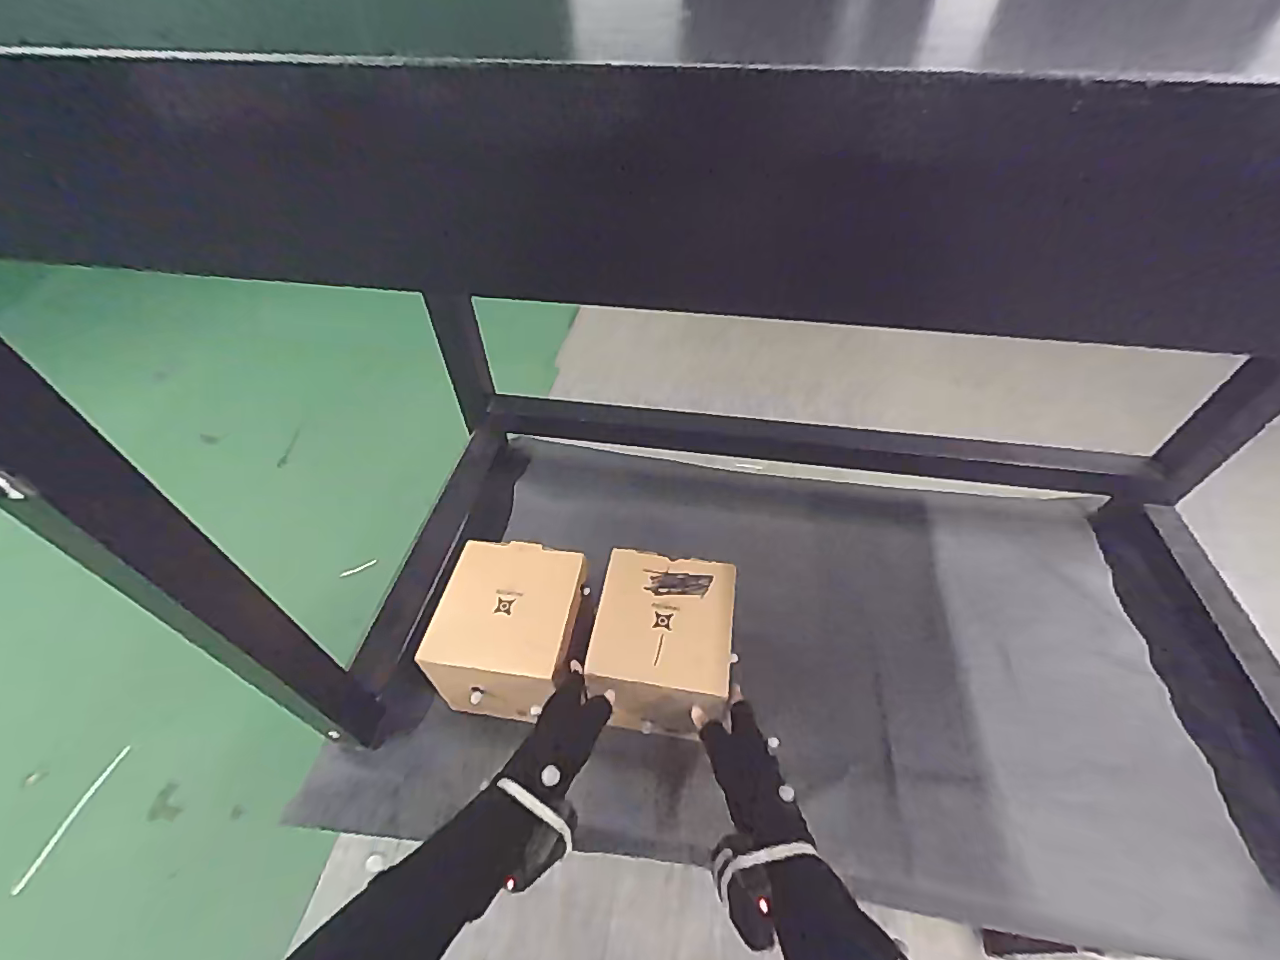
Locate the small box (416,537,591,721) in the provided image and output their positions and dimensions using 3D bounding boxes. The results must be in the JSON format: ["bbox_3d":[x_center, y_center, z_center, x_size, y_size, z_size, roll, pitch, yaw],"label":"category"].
[{"bbox_3d":[-0.165,0.203,0.728,0.168,0.176,0.179,6,47,6],"label":"small box"}]

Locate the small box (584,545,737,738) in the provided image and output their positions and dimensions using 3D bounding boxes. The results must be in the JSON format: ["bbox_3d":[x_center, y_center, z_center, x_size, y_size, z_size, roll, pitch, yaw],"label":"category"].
[{"bbox_3d":[0.031,0.213,0.713,0.168,0.176,0.179,6,49,8],"label":"small box"}]
